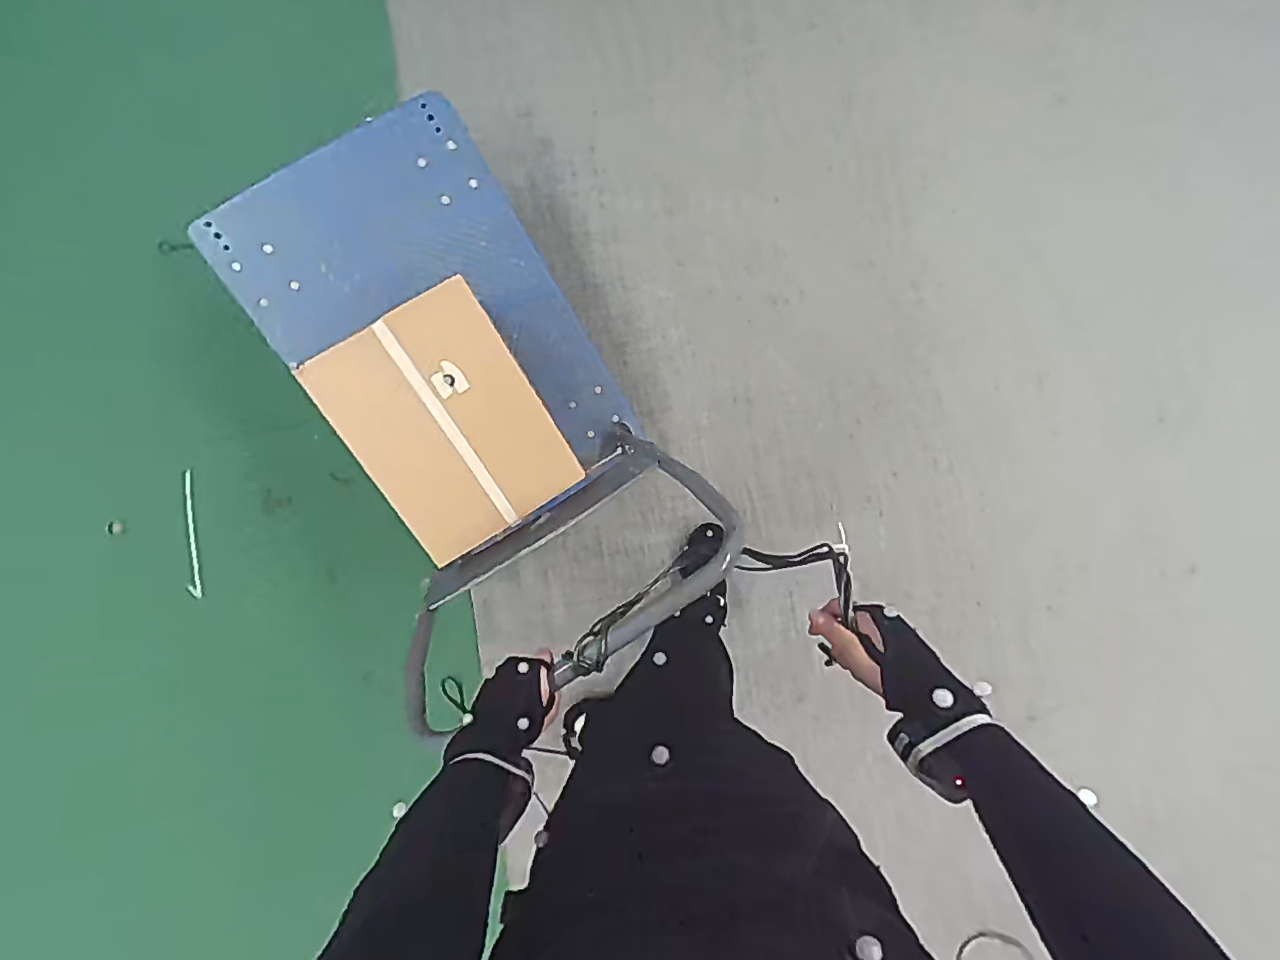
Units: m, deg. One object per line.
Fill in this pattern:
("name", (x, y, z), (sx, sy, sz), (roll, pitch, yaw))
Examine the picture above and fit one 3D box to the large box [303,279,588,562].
("large box", (-0.346, -0.117, 1.076), (0.320, 0.320, 0.408), (-32, 104, -5))
